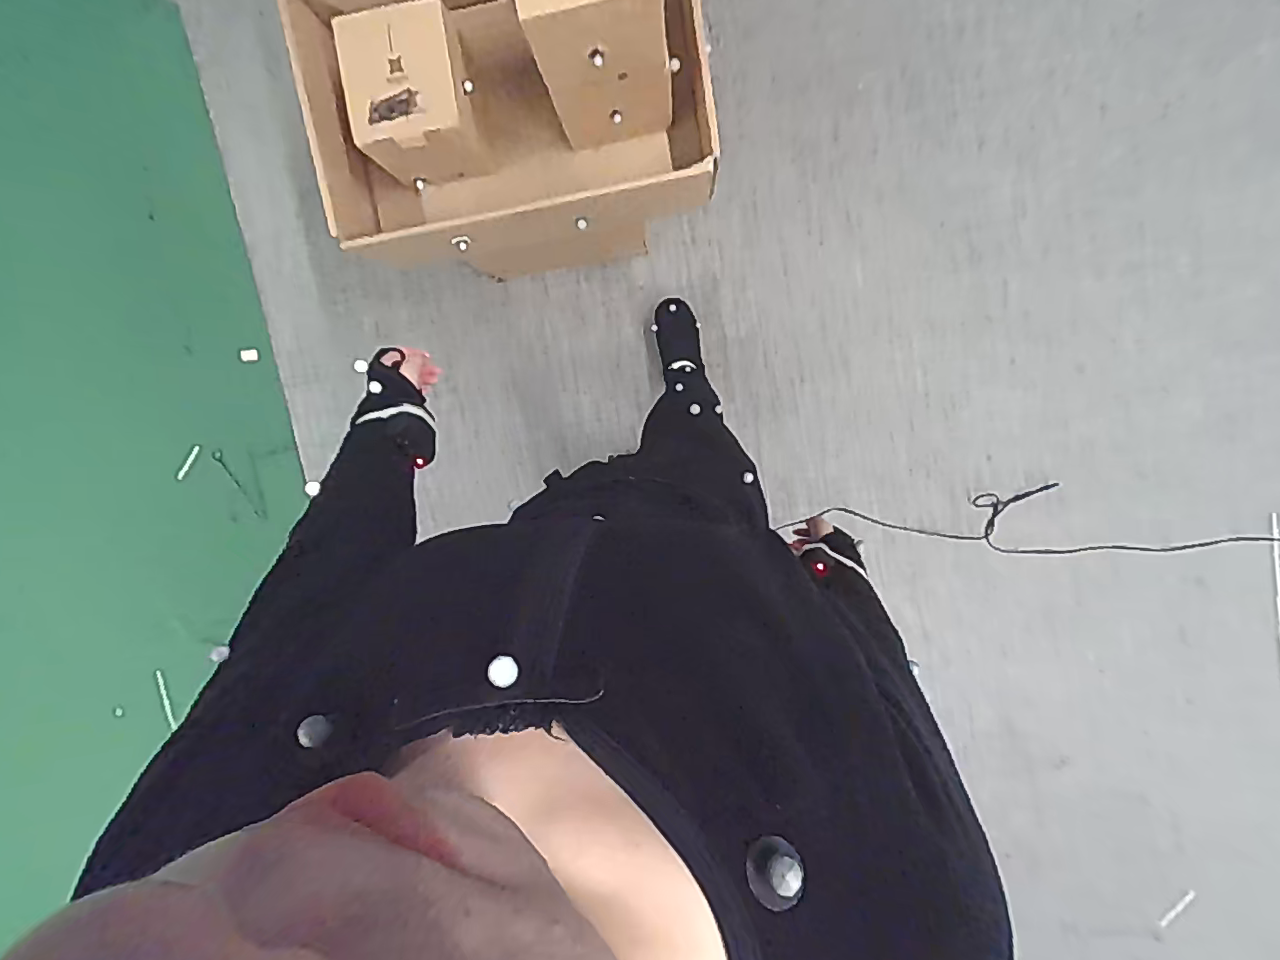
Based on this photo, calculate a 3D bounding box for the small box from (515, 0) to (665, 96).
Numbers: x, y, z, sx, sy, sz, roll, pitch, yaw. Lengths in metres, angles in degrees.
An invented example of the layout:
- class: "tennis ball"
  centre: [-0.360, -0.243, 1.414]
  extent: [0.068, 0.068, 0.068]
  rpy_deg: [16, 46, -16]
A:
- class: "small box"
  centre: [-0.062, -0.616, 0.671]
  extent: [0.168, 0.176, 0.179]
  rpy_deg: [-8, 97, 5]
